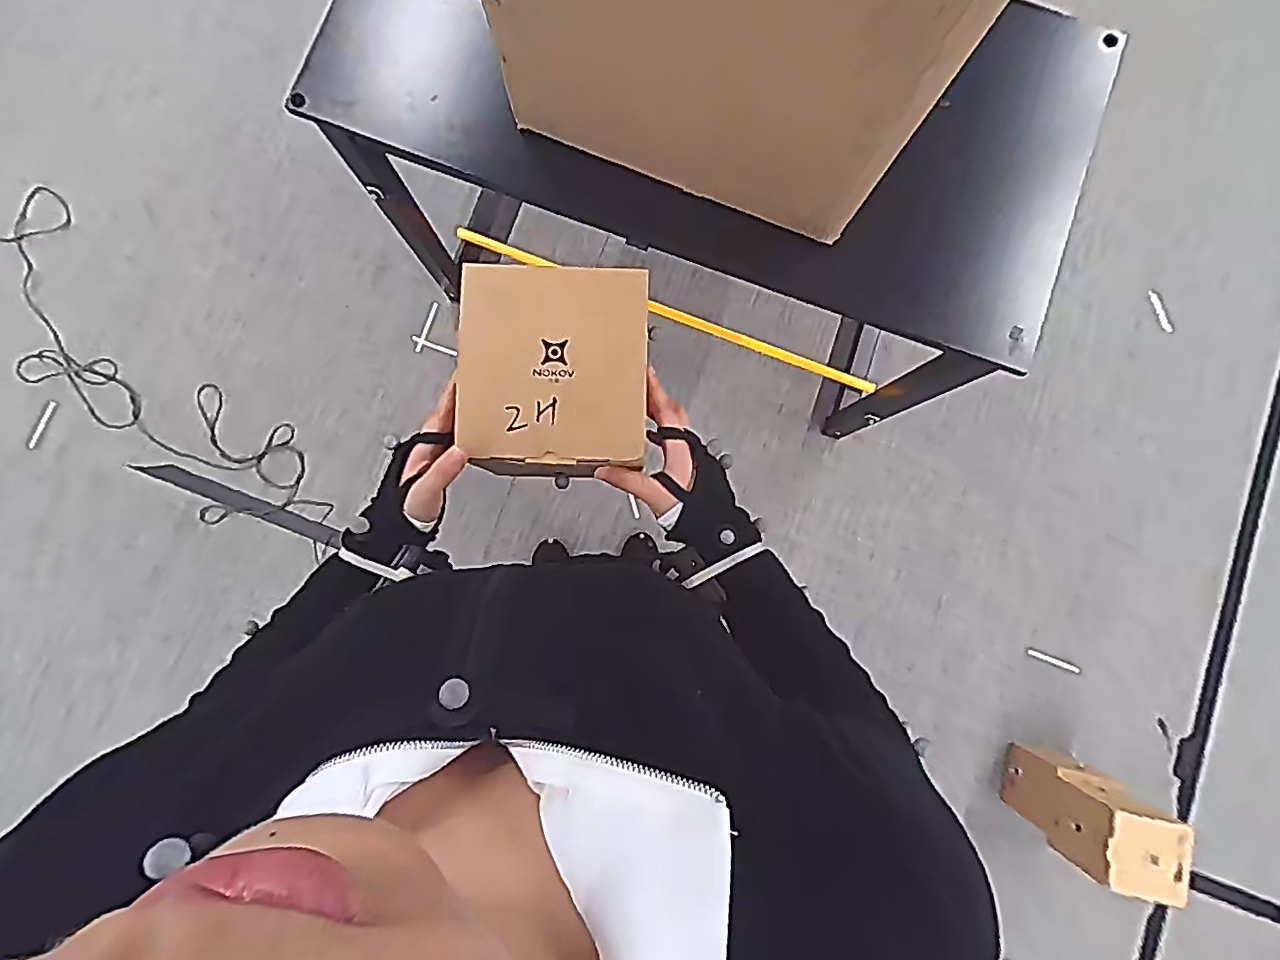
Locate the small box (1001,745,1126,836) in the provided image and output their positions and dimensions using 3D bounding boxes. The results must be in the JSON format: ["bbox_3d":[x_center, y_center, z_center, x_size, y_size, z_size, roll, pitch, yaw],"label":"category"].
[{"bbox_3d":[1.085,0.811,1.396,0.179,0.176,0.168,14,84,1],"label":"small box"}]

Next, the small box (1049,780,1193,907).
[{"bbox_3d":[1.082,0.813,1.231,0.179,0.176,0.168,13,84,0],"label":"small box"}]

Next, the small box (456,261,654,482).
[{"bbox_3d":[-0.075,-0.096,0.547,0.168,0.176,0.179,1,85,-1],"label":"small box"}]
